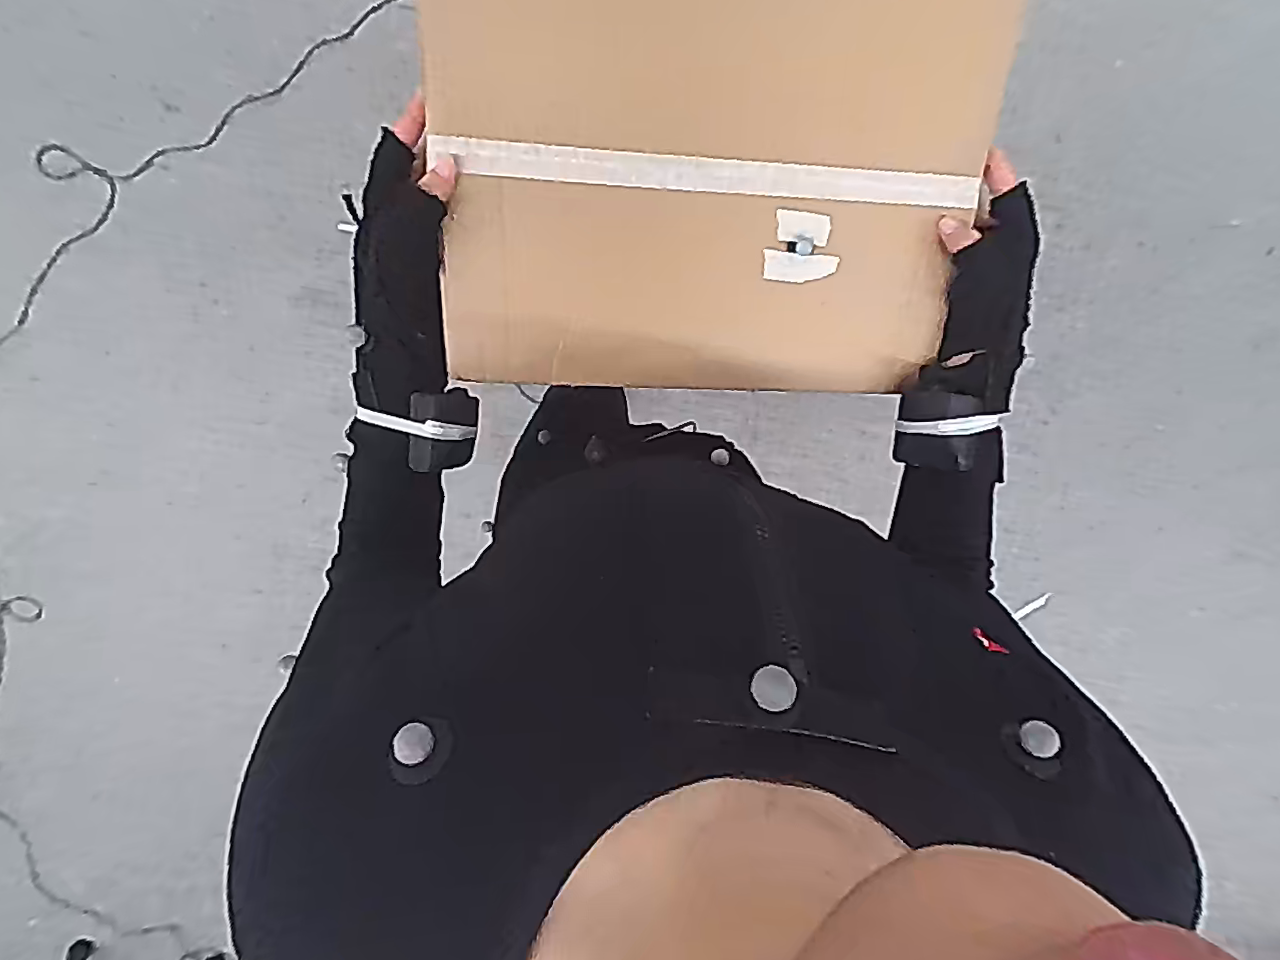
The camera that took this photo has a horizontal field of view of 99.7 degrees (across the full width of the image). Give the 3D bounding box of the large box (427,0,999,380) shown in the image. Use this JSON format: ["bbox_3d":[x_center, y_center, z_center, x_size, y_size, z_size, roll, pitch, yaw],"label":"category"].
[{"bbox_3d":[0.036,-0.285,0.543,0.408,0.320,0.320,0,114,-8],"label":"large box"}]
